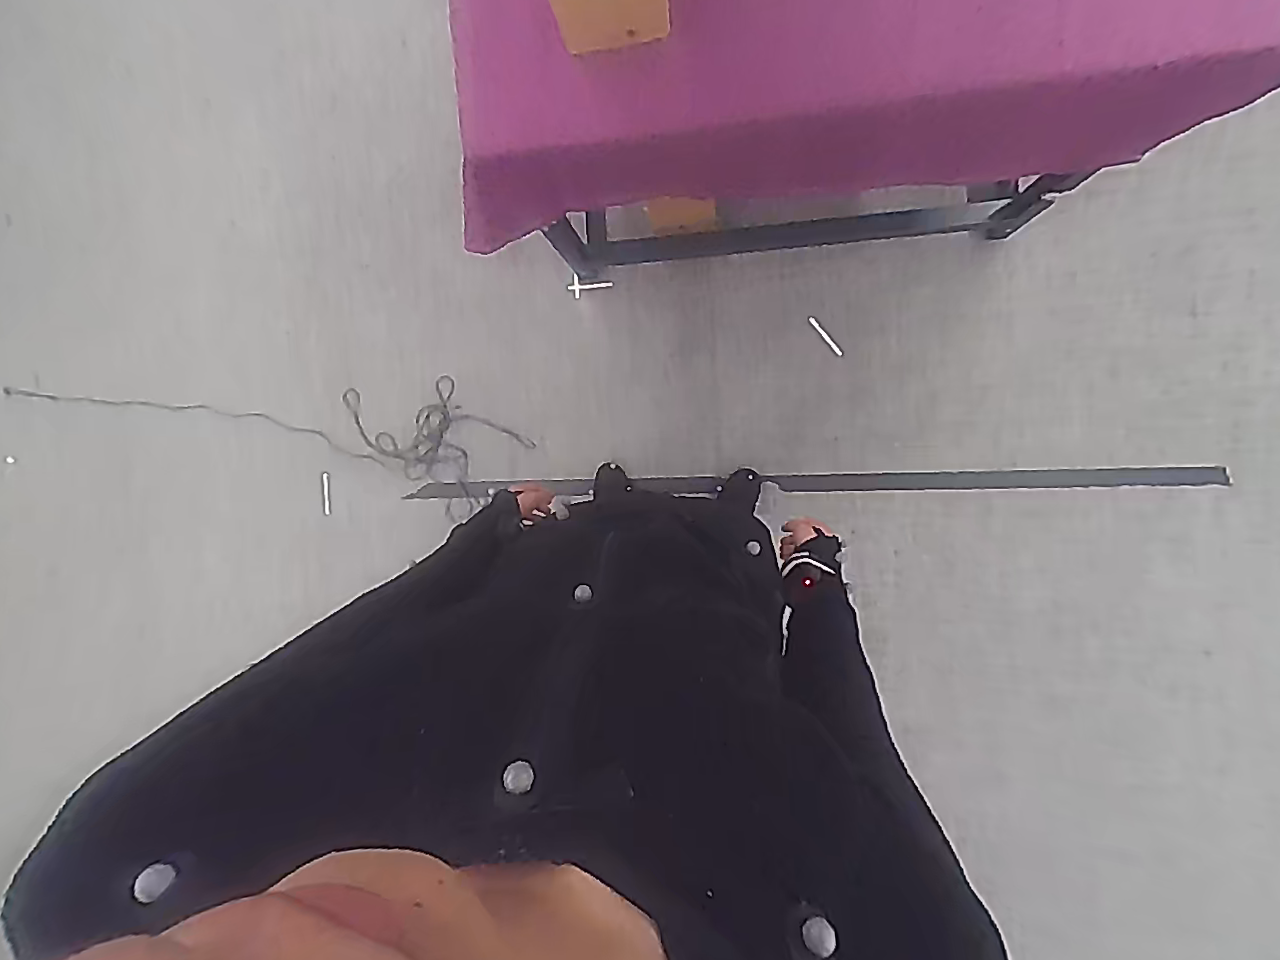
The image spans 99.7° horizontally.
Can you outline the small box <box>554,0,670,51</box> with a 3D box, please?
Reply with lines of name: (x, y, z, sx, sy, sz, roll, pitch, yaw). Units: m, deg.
small box: (-0.049, -0.767, 0.767, 0.168, 0.176, 0.179, -4, 92, 8)
